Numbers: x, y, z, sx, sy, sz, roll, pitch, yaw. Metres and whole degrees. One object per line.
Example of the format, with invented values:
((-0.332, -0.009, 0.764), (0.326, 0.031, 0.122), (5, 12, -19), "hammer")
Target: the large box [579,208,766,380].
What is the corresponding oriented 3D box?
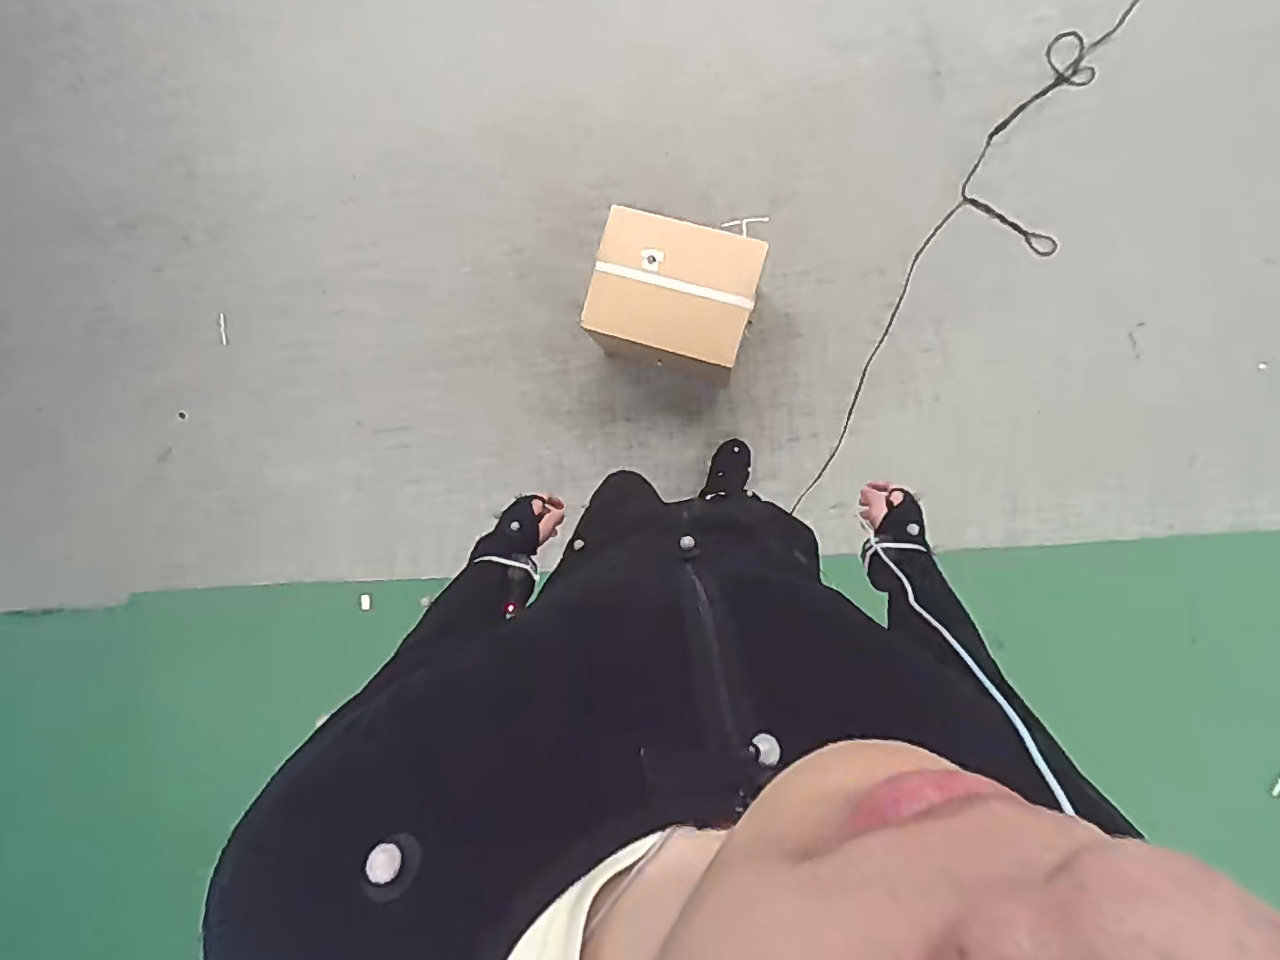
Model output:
((0.099, -0.483, 1.471), (0.408, 0.320, 0.320), (17, 94, 8), "large box")
